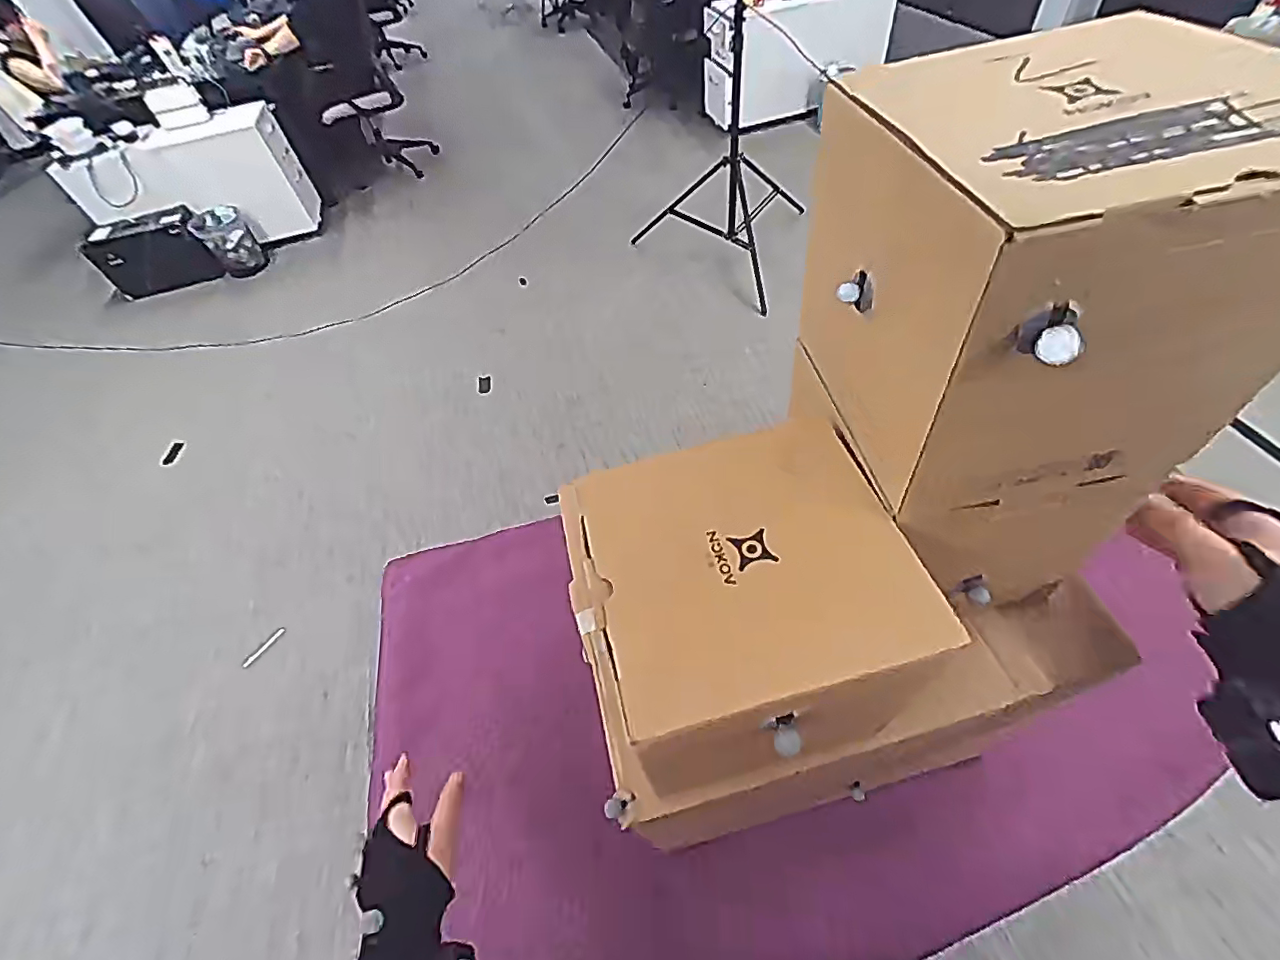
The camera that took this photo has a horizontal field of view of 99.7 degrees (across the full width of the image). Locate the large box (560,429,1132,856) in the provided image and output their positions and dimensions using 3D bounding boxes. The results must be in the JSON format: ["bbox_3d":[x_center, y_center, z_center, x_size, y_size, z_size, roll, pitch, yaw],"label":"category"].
[{"bbox_3d":[0.165,0.167,0.597,0.408,0.320,0.320,-17,50,-3],"label":"large box"}]

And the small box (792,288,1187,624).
[{"bbox_3d":[0.225,-0.015,0.416,0.168,0.176,0.179,-12,51,1],"label":"small box"}]
